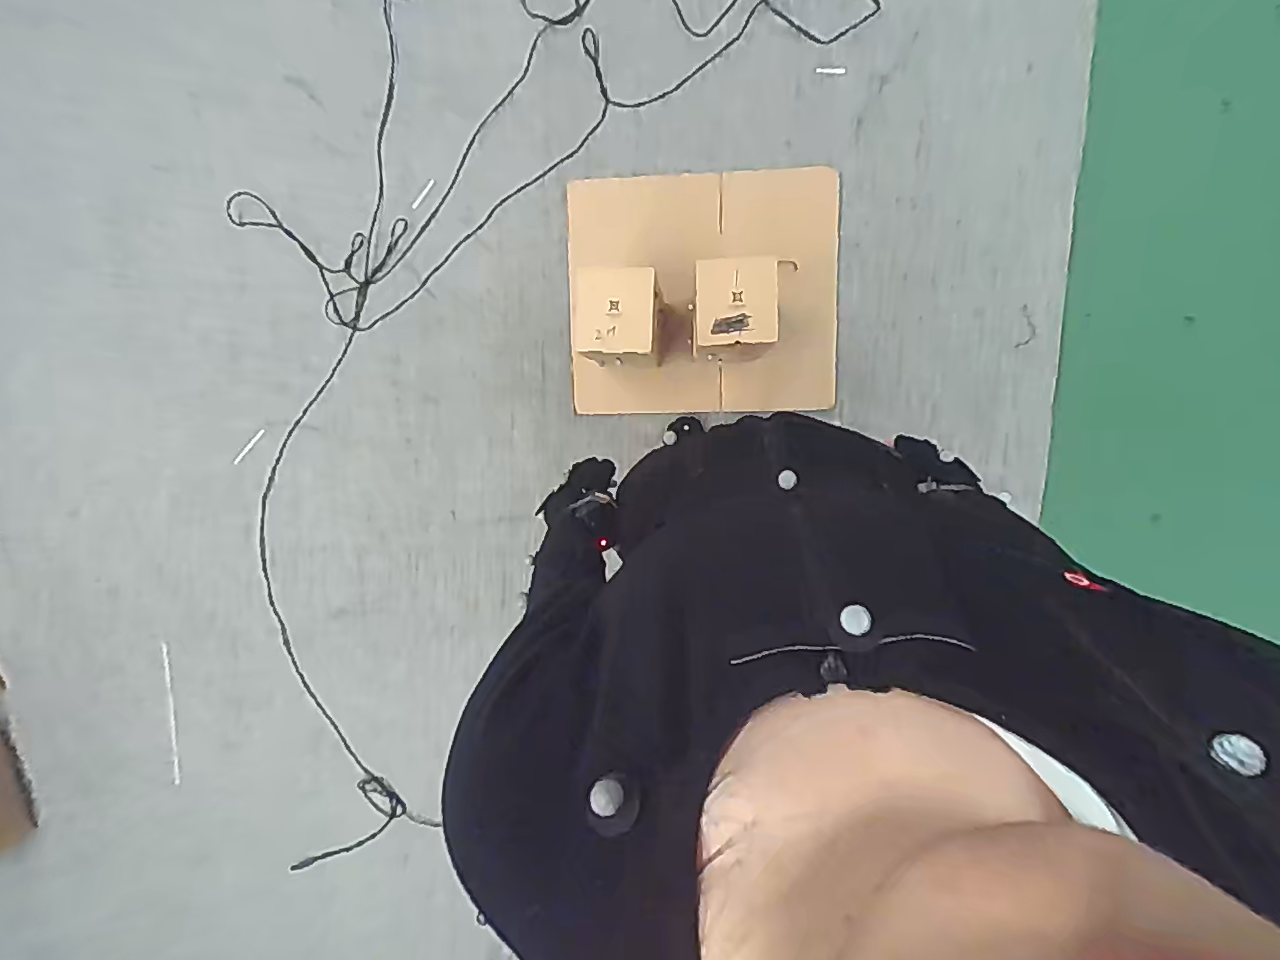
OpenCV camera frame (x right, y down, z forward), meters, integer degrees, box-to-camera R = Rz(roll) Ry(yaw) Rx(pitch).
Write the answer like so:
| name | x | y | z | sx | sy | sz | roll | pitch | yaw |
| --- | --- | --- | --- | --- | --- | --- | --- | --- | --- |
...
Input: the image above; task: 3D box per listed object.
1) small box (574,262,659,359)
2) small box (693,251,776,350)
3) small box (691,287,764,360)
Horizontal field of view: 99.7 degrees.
| name | x | y | z | sx | sy | sz | roll | pitch | yaw |
| --- | --- | --- | --- | --- | --- | --- | --- | --- | --- |
| small box | -0.047 | -0.367 | 1.194 | 0.168 | 0.176 | 0.179 | 3 | 97 | 6 |
| small box | 0.200 | -0.379 | 1.174 | 0.168 | 0.176 | 0.179 | -2 | 97 | 5 |
| small box | 0.212 | -0.396 | 1.337 | 0.168 | 0.176 | 0.179 | -1 | 97 | 5 |
